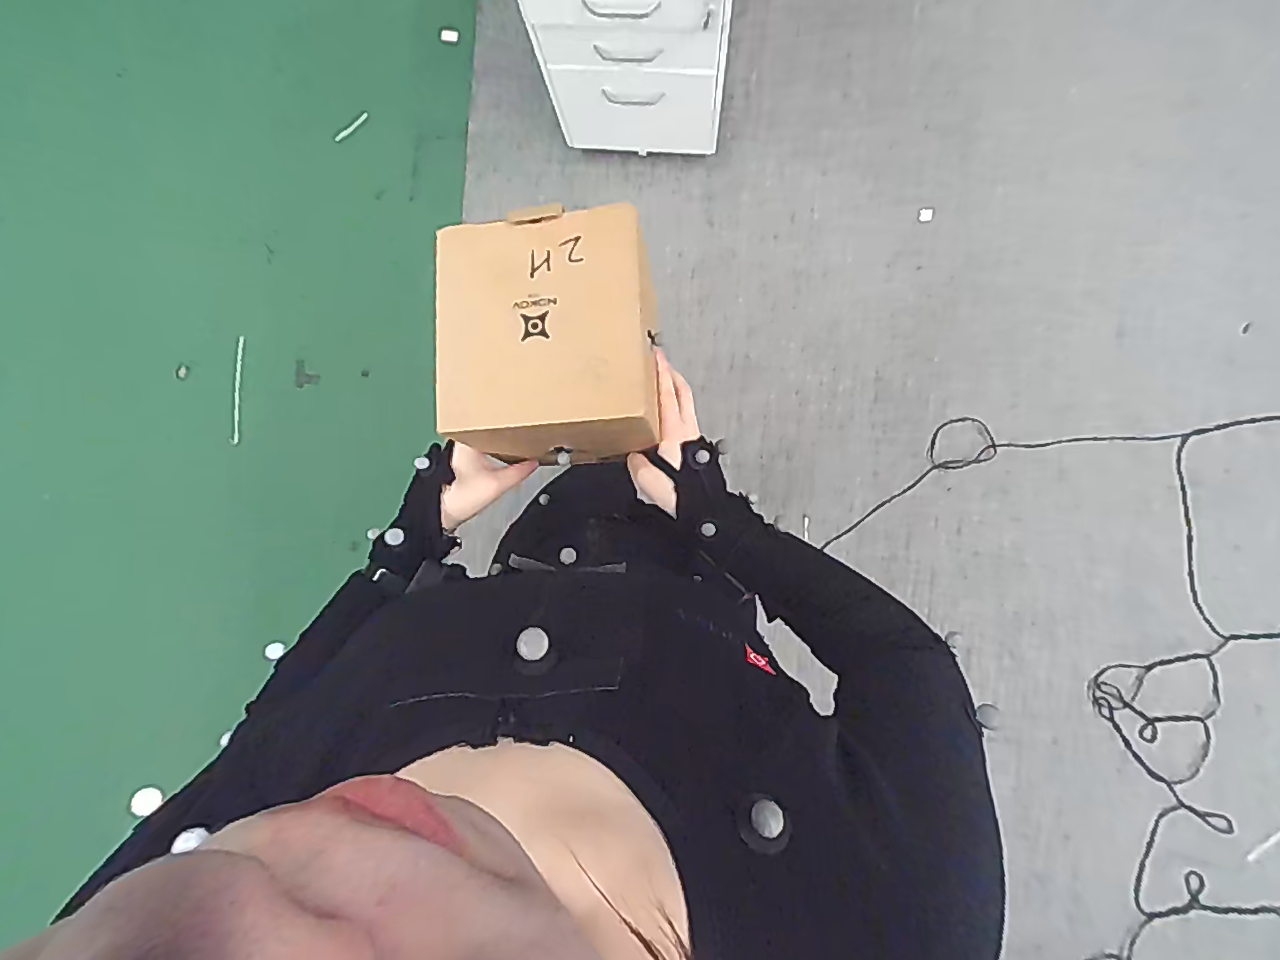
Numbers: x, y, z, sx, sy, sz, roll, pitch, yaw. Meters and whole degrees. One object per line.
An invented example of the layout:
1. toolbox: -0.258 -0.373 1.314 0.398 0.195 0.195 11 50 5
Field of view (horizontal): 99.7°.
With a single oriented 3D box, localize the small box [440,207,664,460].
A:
1. small box: -0.068 -0.116 0.504 0.168 0.176 0.179 -3 81 6
